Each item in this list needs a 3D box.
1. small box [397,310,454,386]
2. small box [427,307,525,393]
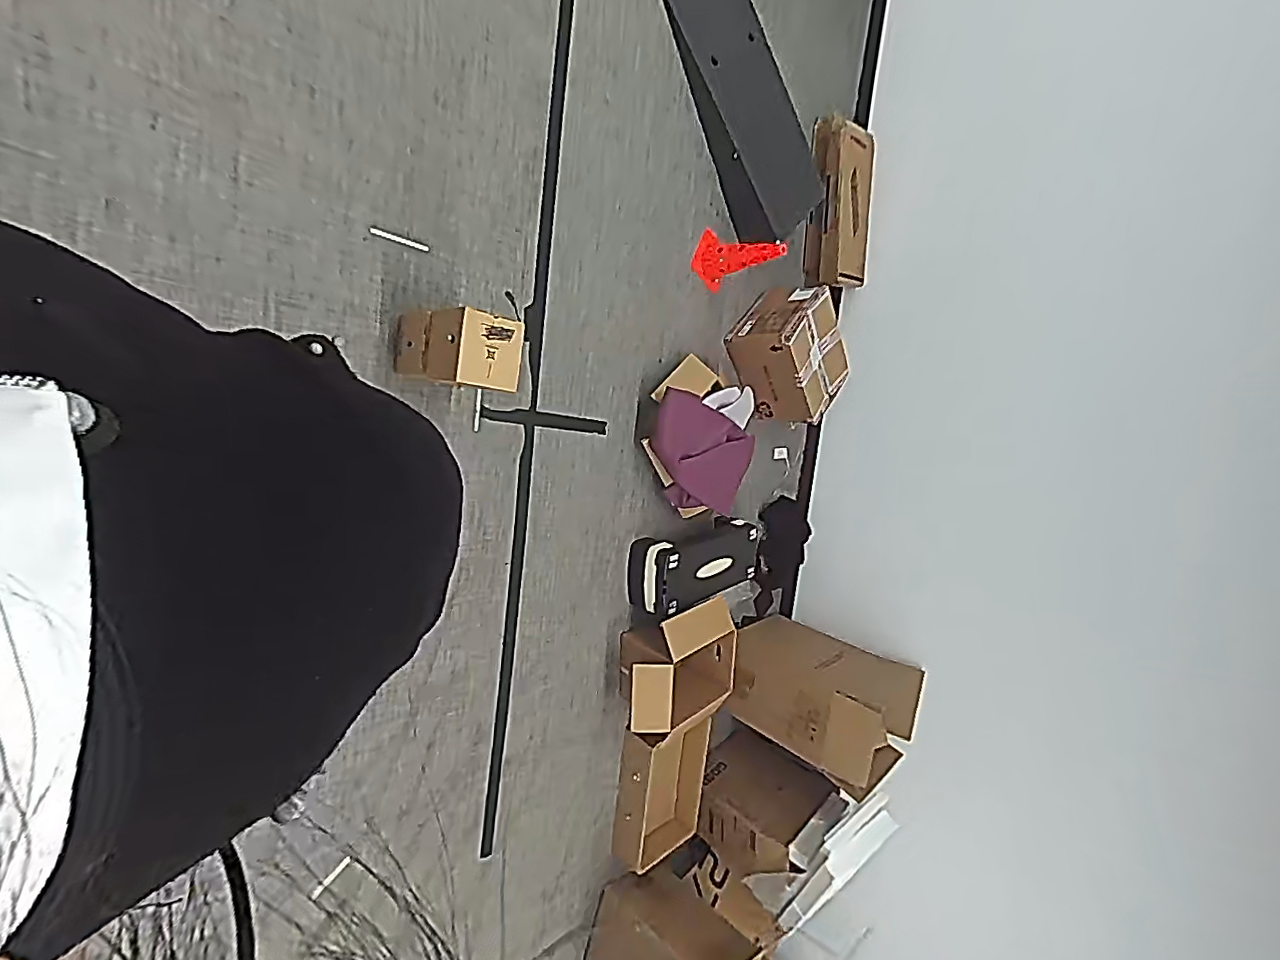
[{"bbox_3d":[-0.534,-0.348,1.459,0.179,0.176,0.168,4,96,-45],"label":"small box"},{"bbox_3d":[-0.412,-0.320,1.349,0.168,0.176,0.179,4,97,-46],"label":"small box"}]
